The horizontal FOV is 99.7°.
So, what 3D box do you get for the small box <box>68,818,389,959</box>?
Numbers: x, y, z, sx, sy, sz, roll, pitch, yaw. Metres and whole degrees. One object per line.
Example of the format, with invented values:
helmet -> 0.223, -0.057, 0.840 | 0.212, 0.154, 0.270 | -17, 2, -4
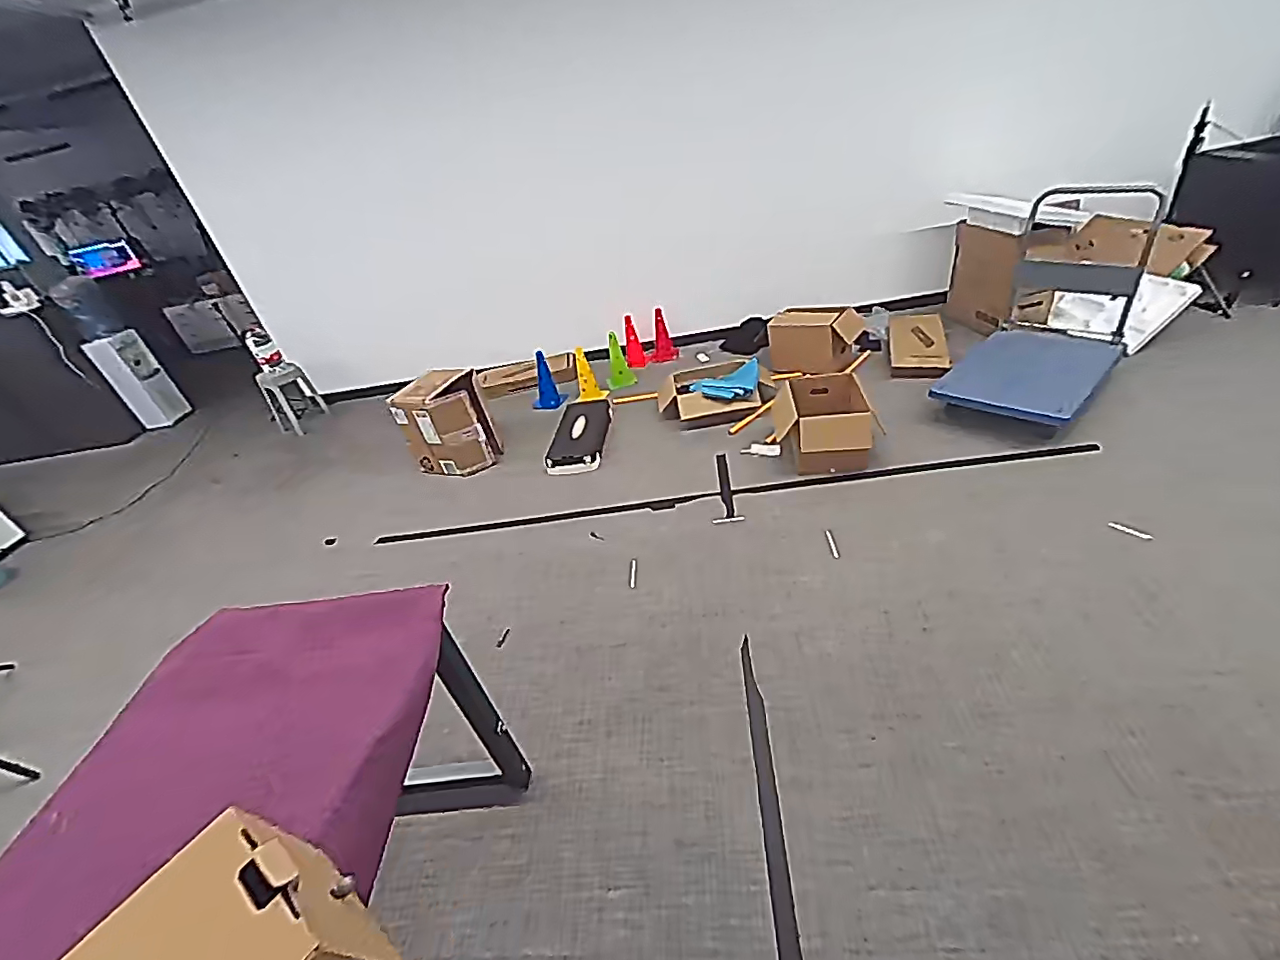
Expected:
small box -> -0.349, 0.440, 0.453 | 0.168, 0.176, 0.179 | 22, 50, 30
